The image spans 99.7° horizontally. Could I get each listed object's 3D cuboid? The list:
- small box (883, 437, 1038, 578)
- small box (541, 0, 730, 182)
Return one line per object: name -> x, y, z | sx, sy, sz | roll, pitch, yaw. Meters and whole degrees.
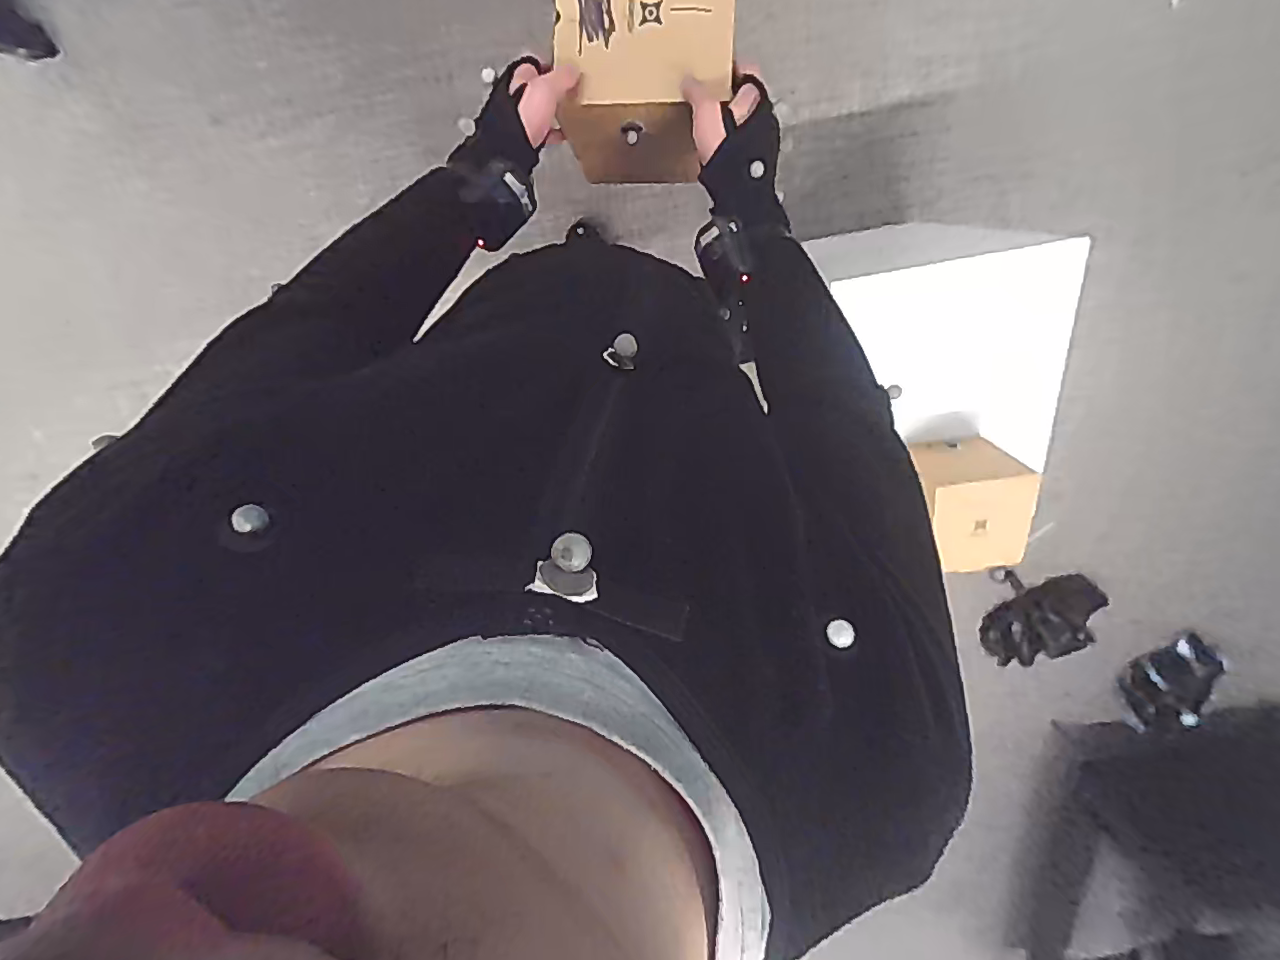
small box -> 0.541, 0.043, 0.942 | 0.168, 0.176, 0.179 | -8, 116, 2
small box -> 0.004, -0.440, 0.580 | 0.179, 0.176, 0.168 | 3, 96, 7
